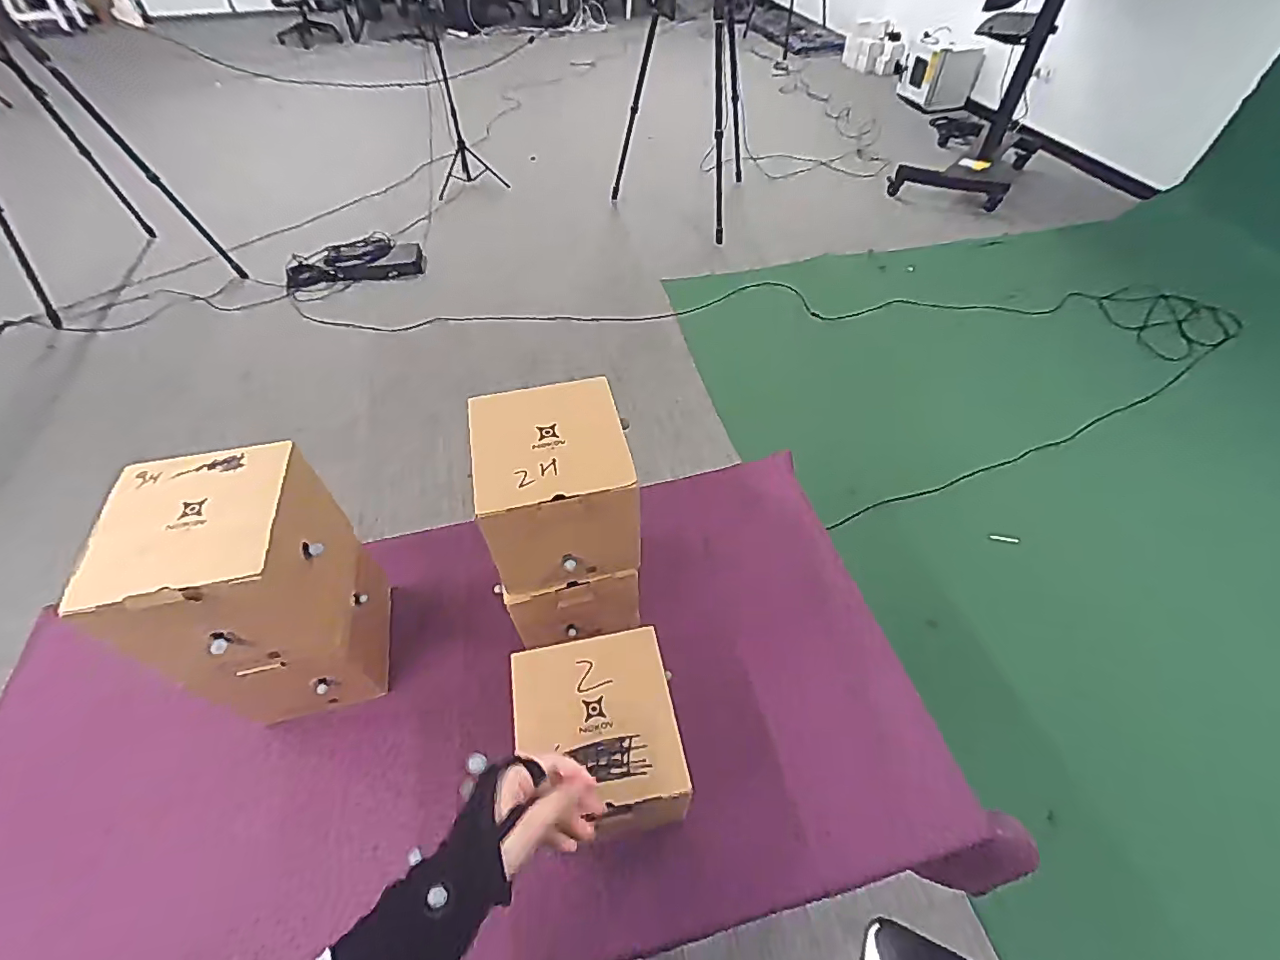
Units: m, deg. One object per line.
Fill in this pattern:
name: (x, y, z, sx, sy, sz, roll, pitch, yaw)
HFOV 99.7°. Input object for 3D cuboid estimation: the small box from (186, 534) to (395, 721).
small box: (-0.438, 0.200, 0.715, 0.168, 0.176, 0.179, -11, 51, -9)

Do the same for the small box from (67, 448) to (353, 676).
small box: (-0.433, 0.095, 0.587, 0.168, 0.176, 0.179, -10, 52, -9)

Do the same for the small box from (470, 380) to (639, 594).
small box: (-0.100, 0.009, 0.650, 0.168, 0.176, 0.179, -12, 52, -8)

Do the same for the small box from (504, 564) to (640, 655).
small box: (-0.102, 0.121, 0.772, 0.168, 0.176, 0.179, -13, 52, -10)
